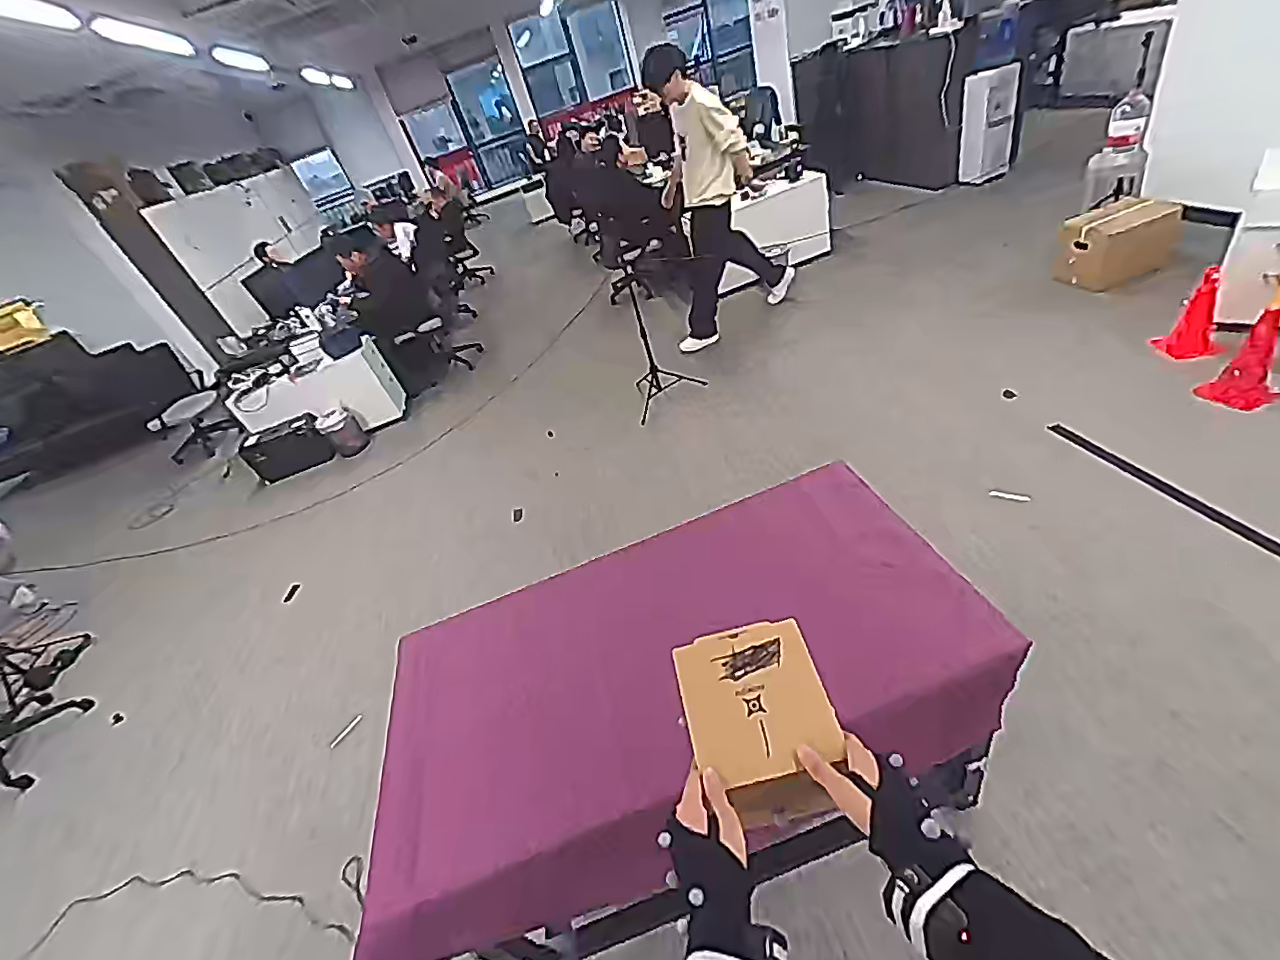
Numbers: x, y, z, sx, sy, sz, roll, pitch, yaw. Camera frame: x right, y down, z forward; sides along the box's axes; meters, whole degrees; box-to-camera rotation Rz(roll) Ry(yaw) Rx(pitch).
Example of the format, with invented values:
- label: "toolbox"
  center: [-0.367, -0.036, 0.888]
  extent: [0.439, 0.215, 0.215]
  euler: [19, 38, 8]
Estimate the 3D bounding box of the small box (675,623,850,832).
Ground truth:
- label: "small box"
  center: [0.151, 0.318, 0.695]
  extent: [0.168, 0.176, 0.179]
  euler: [-16, 43, 2]
